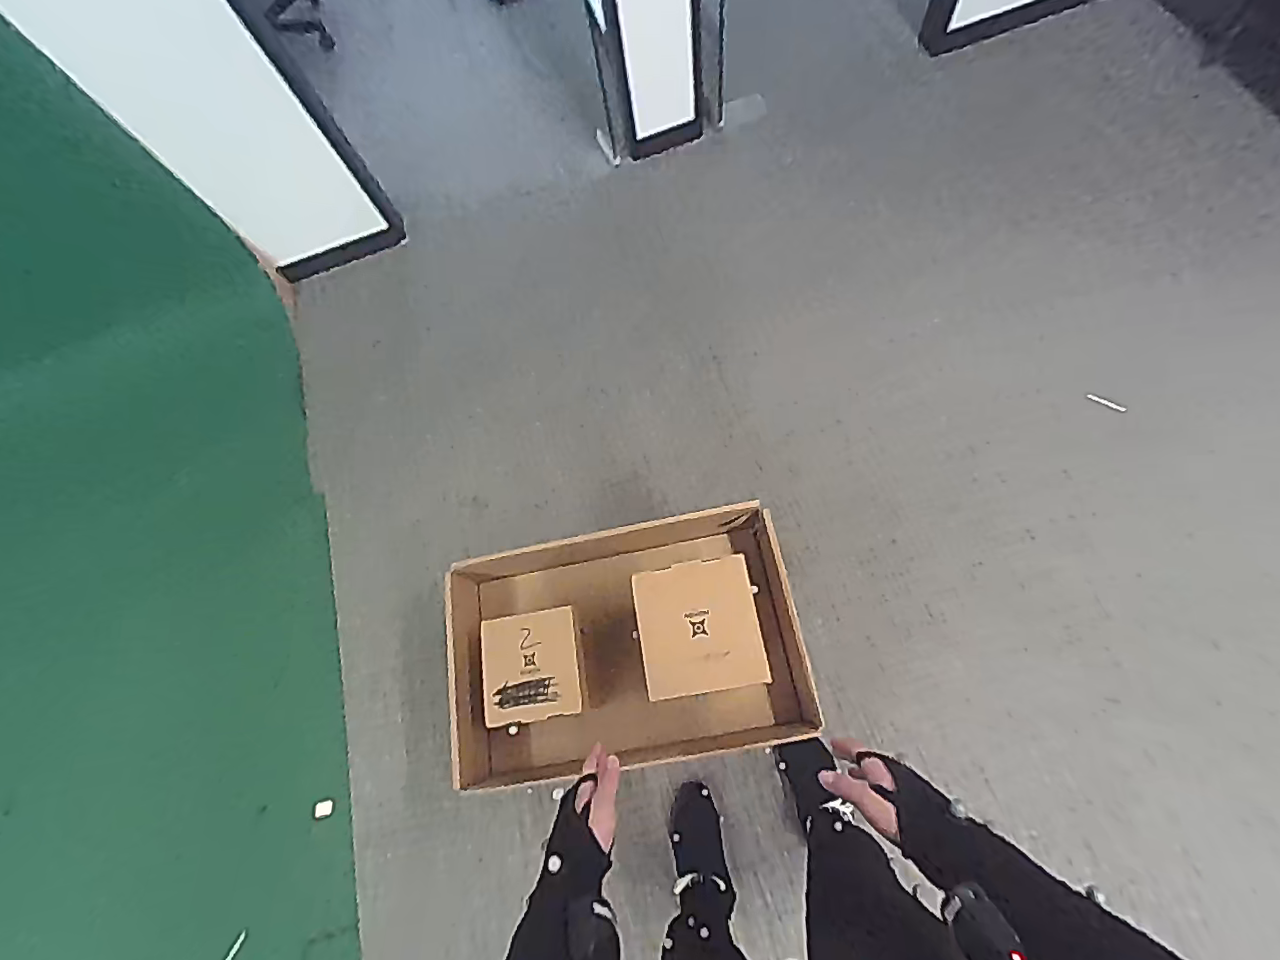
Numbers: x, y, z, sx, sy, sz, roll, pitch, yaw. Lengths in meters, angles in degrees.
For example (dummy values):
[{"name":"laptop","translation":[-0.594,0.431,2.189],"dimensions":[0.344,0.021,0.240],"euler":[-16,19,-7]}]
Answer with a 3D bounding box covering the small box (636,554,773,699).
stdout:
[{"name":"small box","translation":[0.093,0.225,0.813],"dimensions":[0.168,0.176,0.179],"euler":[-10,70,5]}]
